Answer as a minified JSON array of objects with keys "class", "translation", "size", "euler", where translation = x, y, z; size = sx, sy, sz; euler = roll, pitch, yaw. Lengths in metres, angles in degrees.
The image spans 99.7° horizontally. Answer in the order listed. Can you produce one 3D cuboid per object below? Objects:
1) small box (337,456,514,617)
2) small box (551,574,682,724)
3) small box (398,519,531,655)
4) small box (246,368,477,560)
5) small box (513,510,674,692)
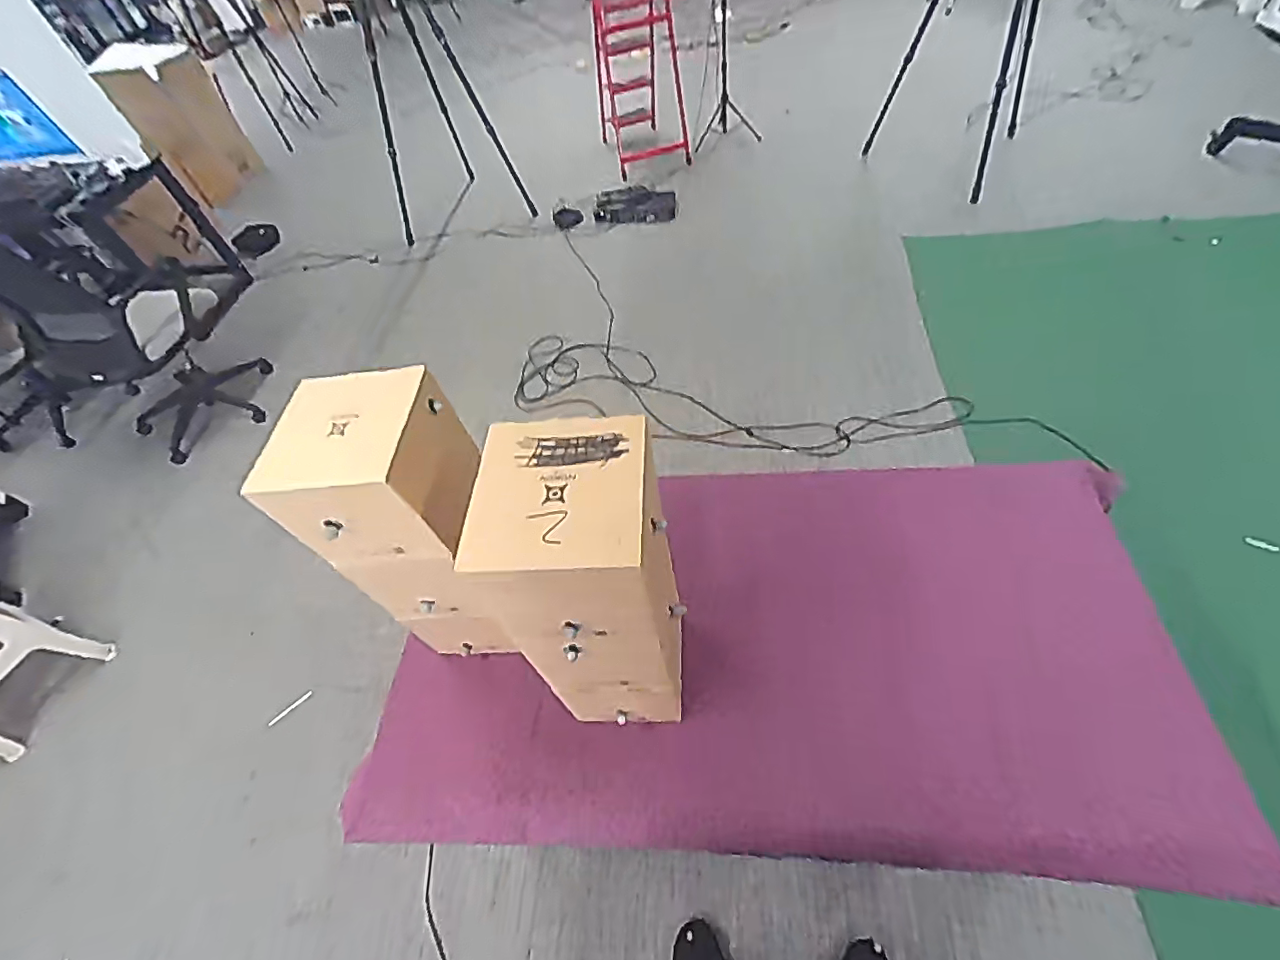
[{"class":"small box","translation":[-0.298,0.087,0.798],"size":[0.168,0.176,0.179],"euler":[-4,53,8]},{"class":"small box","translation":[-0.025,0.258,0.828],"size":[0.168,0.176,0.179],"euler":[-3,53,8]},{"class":"small box","translation":[-0.277,0.186,0.926],"size":[0.168,0.176,0.179],"euler":[-4,53,7]},{"class":"small box","translation":[-0.321,-0.010,0.670],"size":[0.168,0.176,0.179],"euler":[-5,52,7]},{"class":"small box","translation":[-0.046,0.157,0.700],"size":[0.168,0.176,0.179],"euler":[-3,52,8]}]
